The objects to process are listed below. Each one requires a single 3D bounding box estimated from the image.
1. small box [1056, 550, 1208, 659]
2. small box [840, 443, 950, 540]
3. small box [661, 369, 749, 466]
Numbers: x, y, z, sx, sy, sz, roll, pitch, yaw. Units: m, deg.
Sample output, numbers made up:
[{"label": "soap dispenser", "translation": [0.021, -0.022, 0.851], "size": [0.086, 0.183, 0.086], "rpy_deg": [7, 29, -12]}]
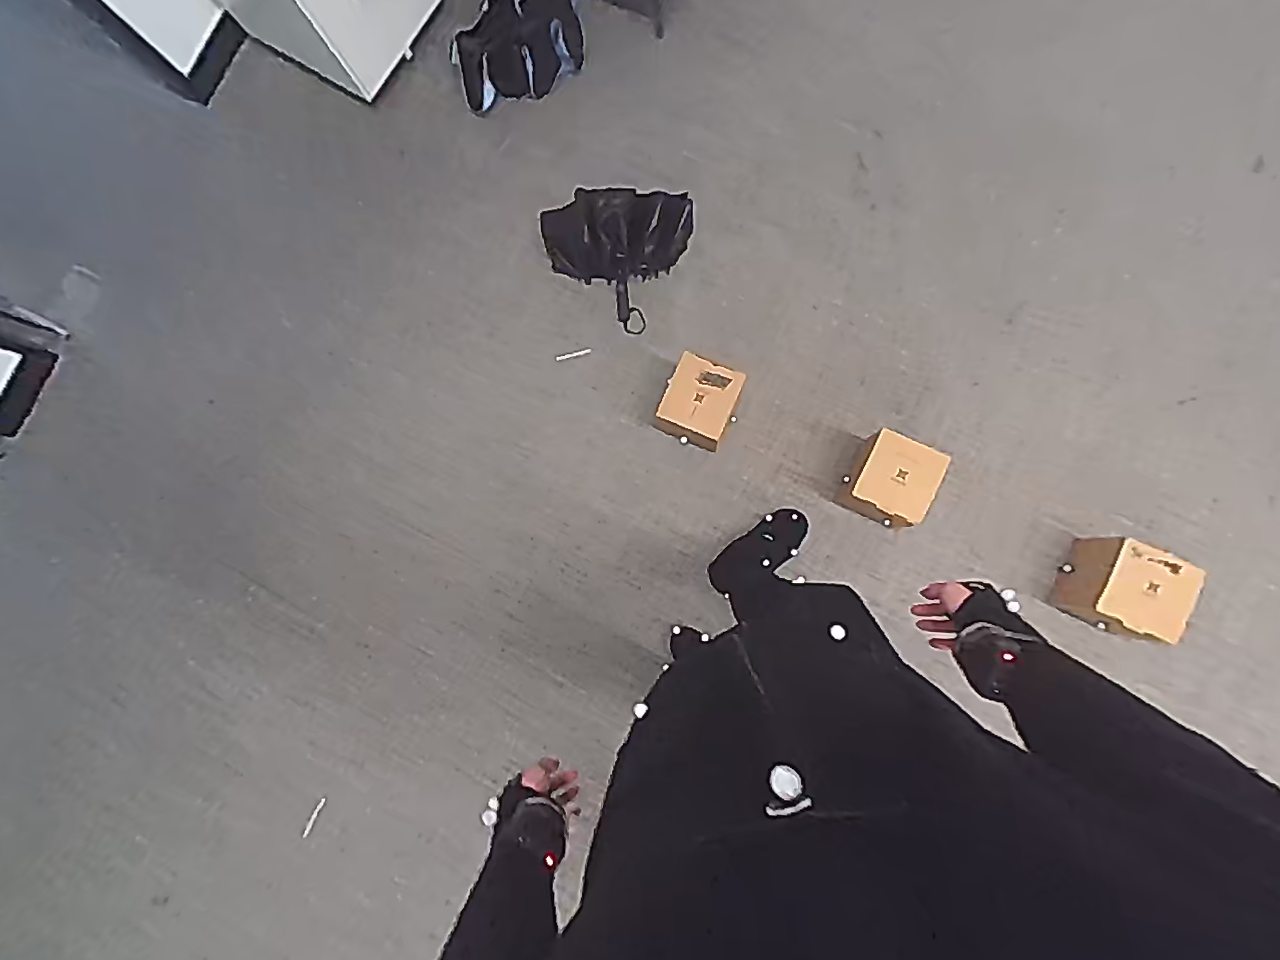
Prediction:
[{"label": "small box", "translation": [1.089, 0.273, 1.216], "size": [0.168, 0.176, 0.179], "rpy_deg": [26, 86, 10]}, {"label": "small box", "translation": [0.606, 0.036, 1.312], "size": [0.168, 0.176, 0.179], "rpy_deg": [25, 83, 9]}, {"label": "small box", "translation": [0.165, -0.154, 1.388], "size": [0.168, 0.176, 0.179], "rpy_deg": [23, 86, 10]}]
